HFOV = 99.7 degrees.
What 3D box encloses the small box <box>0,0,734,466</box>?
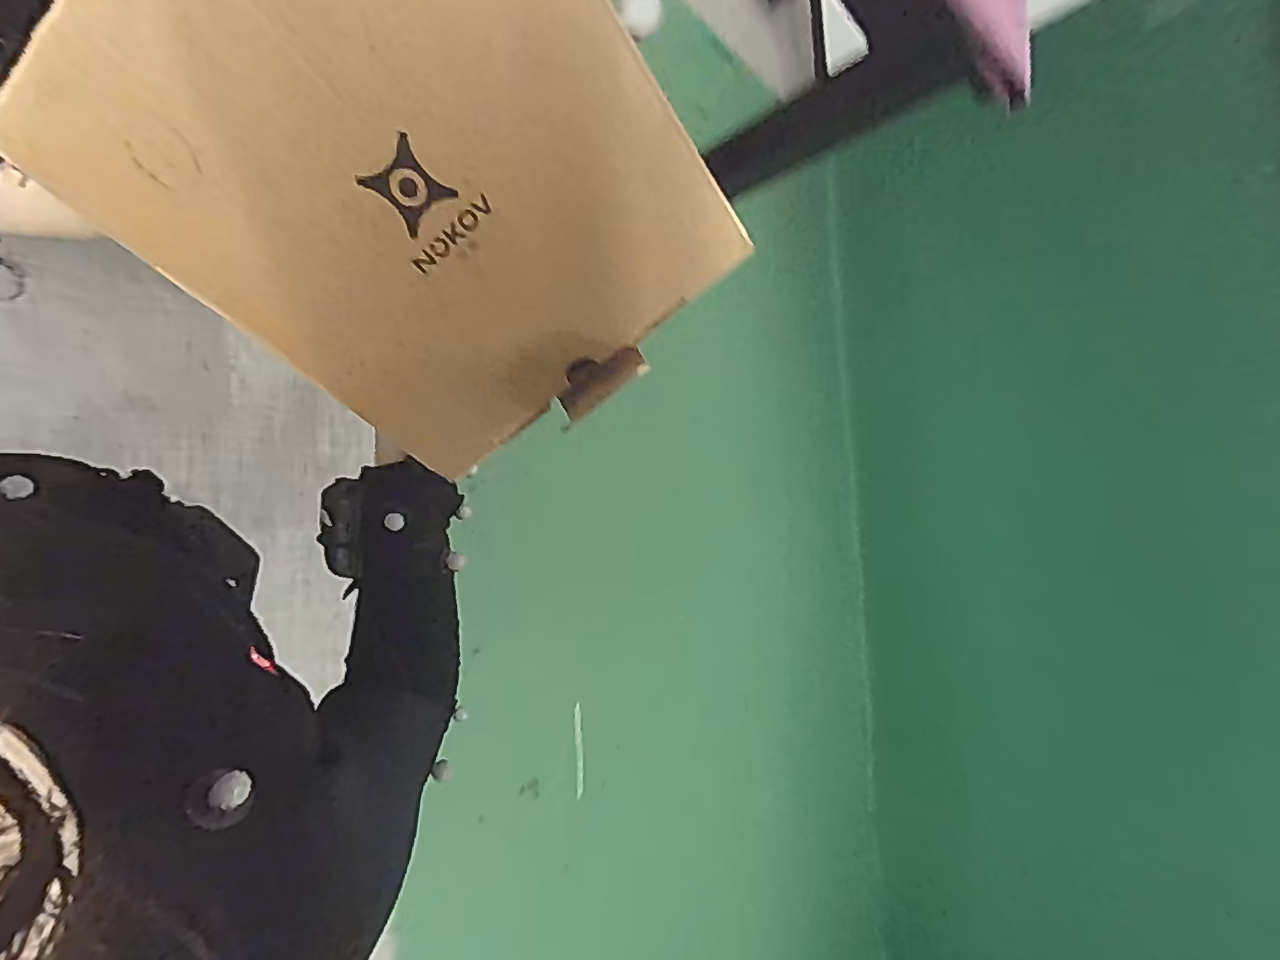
[{"bbox_3d":[-0.089,-0.146,0.245,0.179,0.168,0.176,45,18,-34],"label":"small box"}]
